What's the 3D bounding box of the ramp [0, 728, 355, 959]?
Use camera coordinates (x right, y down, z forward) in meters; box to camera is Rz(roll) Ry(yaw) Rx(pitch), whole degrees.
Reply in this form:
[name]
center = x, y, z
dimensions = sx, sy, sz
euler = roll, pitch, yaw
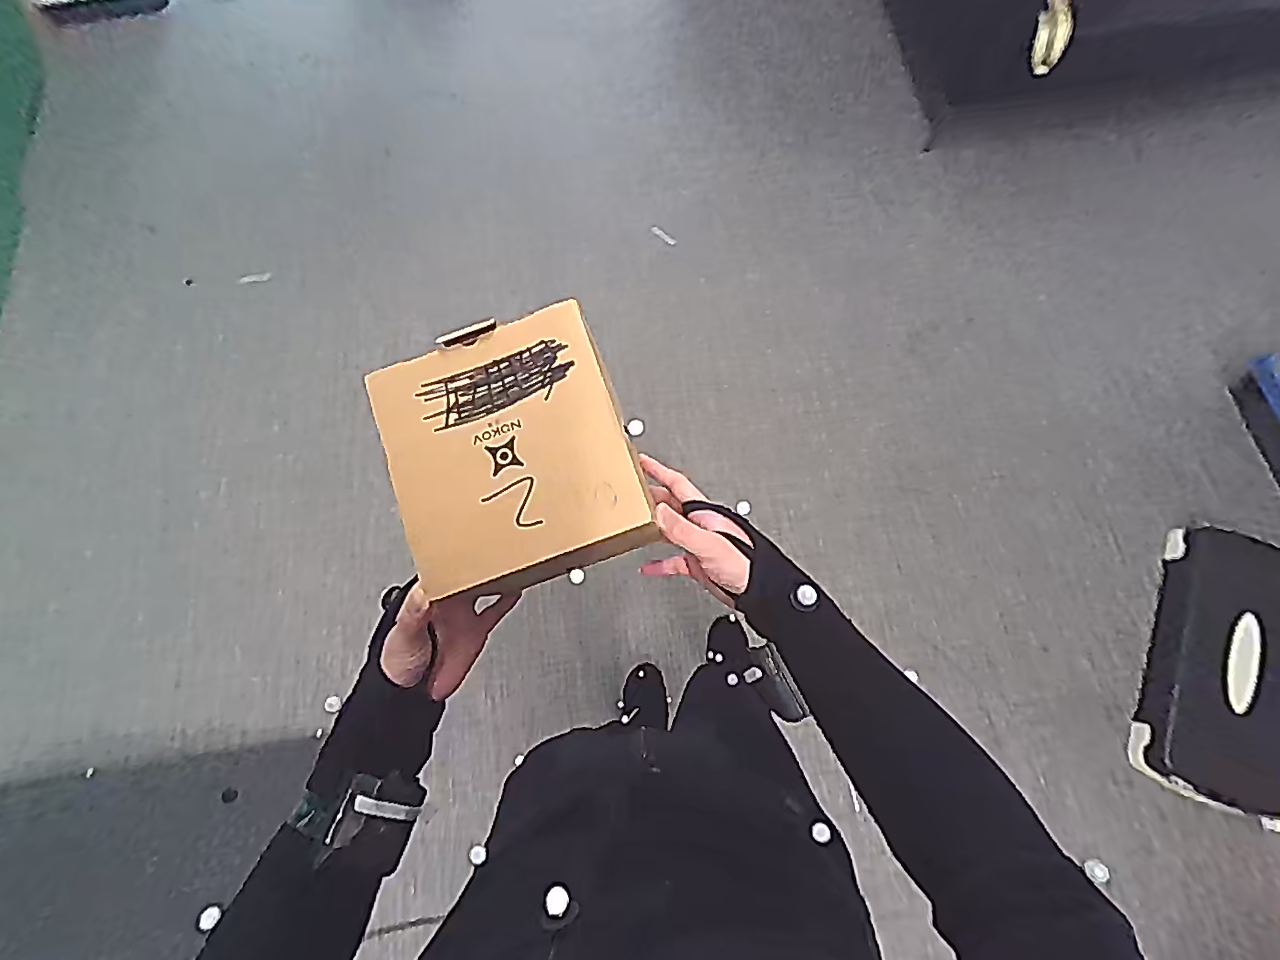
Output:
[ramp]
center = -1.203, 0.924, 1.263
dimensions = 0.991, 0.206, 0.509
euler = -10, 72, -1
